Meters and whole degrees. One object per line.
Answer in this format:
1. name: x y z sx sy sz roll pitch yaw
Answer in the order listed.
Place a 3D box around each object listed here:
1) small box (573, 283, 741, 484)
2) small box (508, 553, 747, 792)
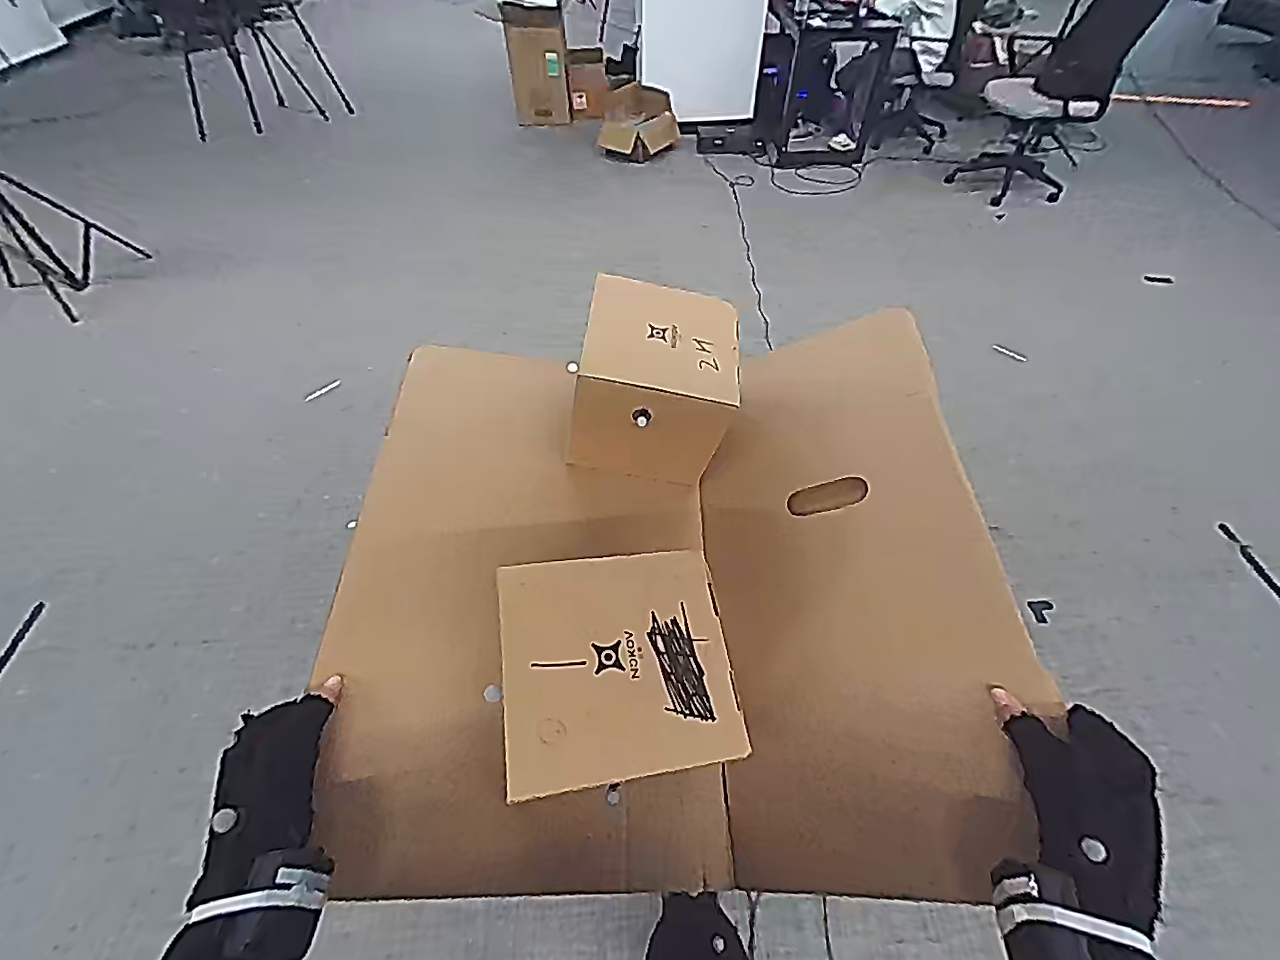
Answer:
1. small box: 0.016 -0.113 0.683 0.179 0.176 0.168 11 58 -7
2. small box: -0.028 0.178 0.494 0.179 0.176 0.168 -3 60 -13
